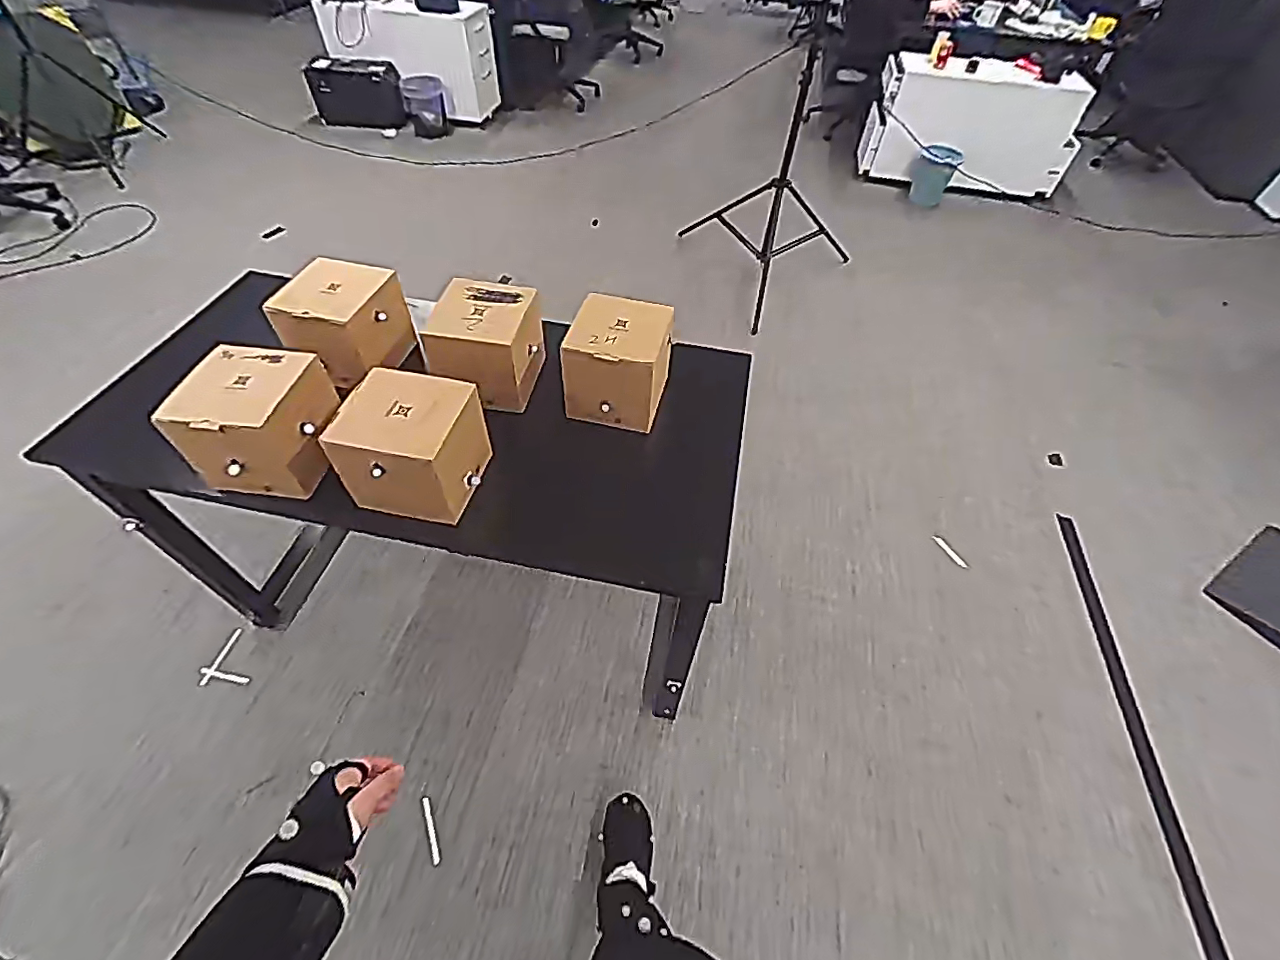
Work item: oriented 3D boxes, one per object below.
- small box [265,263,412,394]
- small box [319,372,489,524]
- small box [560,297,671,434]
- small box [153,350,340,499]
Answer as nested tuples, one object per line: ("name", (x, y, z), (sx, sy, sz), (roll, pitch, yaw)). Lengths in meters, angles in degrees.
("small box", (-0.573, -0.293, 1.062), (0.168, 0.176, 0.179), (11, 52, 6))
("small box", (-0.364, -0.048, 0.875), (0.179, 0.176, 0.168), (10, 52, 4))
("small box", (-0.044, -0.216, 1.025), (0.168, 0.176, 0.179), (12, 51, 7))
("small box", (-0.618, -0.088, 0.891), (0.168, 0.176, 0.179), (6, 51, 2))
